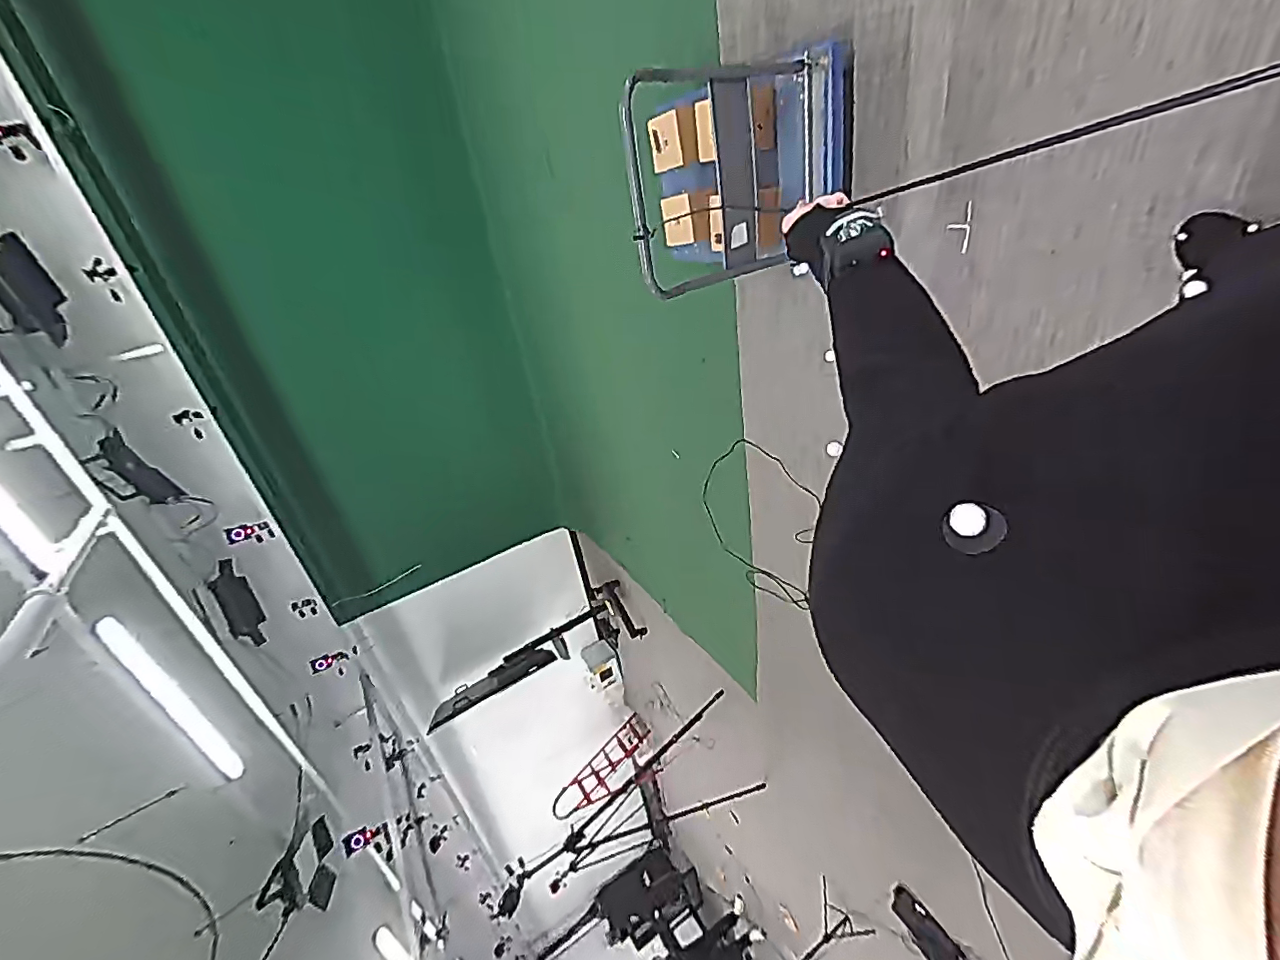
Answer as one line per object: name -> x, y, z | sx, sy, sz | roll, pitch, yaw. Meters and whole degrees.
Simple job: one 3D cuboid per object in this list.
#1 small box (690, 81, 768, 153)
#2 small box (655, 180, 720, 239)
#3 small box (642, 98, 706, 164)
small box -> 0.281, -1.137, 1.699 | 0.179, 0.176, 0.168 | 32, 140, 49
small box -> 0.184, -1.008, 2.016 | 0.179, 0.176, 0.168 | 29, 136, 53
small box -> 0.135, -1.230, 1.906 | 0.179, 0.176, 0.168 | 27, 137, 52
